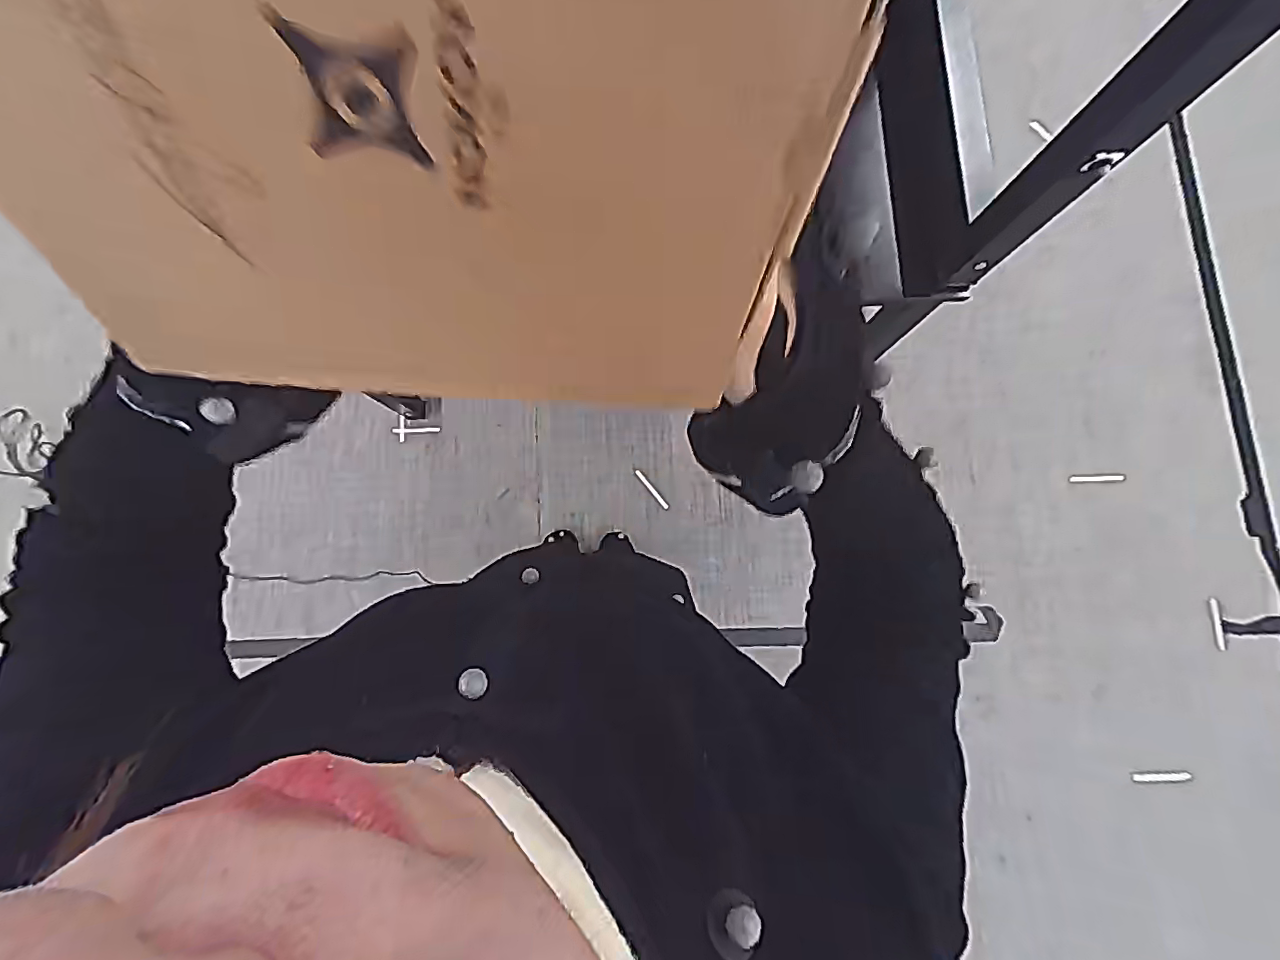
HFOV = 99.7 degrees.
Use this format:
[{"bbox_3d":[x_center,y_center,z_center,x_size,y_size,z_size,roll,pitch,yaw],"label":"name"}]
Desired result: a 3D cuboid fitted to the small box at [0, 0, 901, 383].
[{"bbox_3d":[-0.047,-0.145,0.127,0.179,0.168,0.176,3,59,-8],"label":"small box"}]
